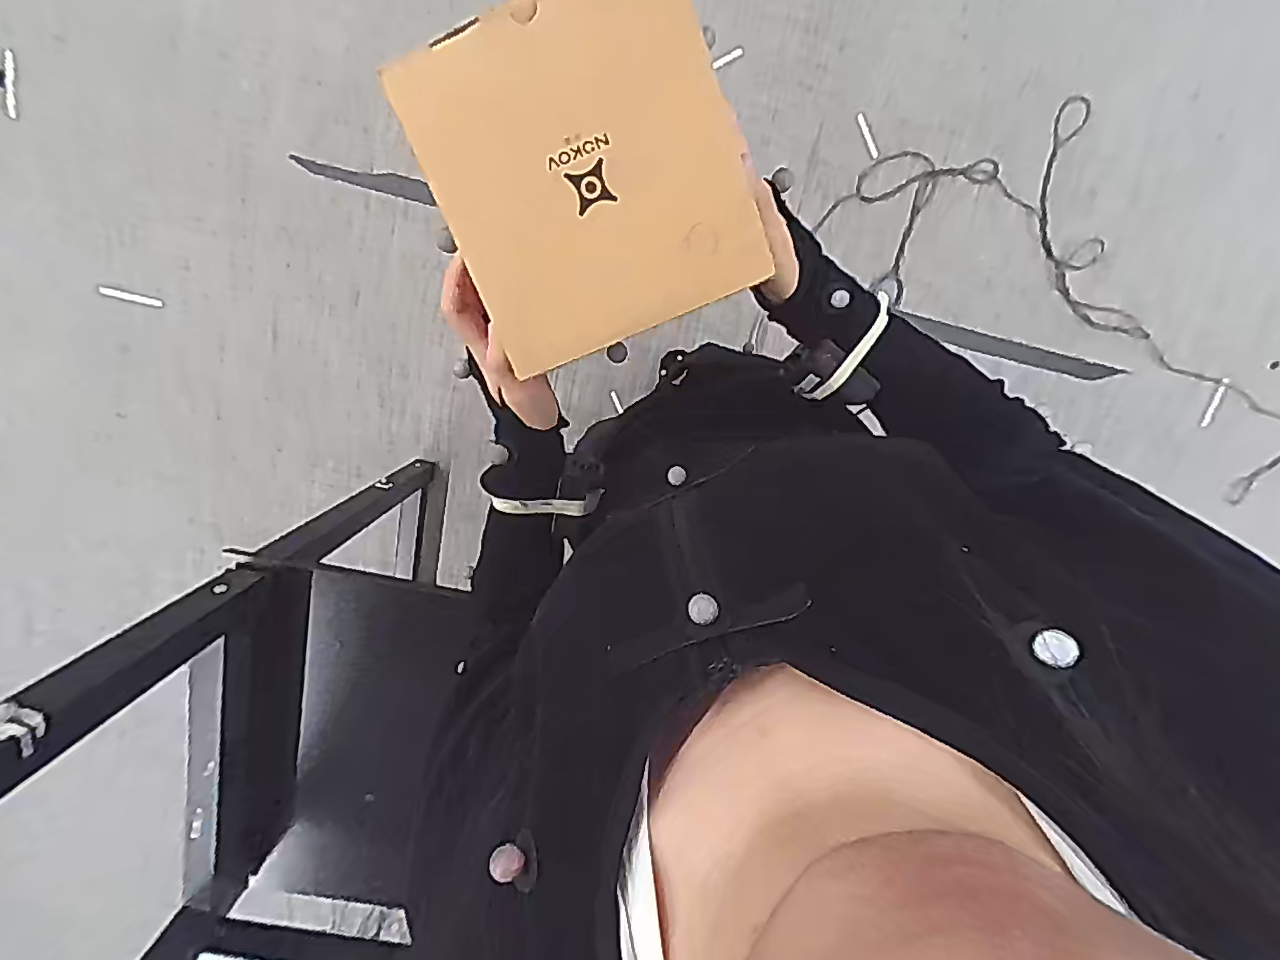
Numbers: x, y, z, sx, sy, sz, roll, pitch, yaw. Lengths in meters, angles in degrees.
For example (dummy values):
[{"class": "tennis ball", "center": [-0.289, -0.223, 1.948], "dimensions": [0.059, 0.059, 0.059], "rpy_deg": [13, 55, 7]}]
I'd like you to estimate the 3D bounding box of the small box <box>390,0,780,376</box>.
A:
[{"class": "small box", "center": [-0.026, -0.189, 0.372], "dimensions": [0.168, 0.176, 0.179], "rpy_deg": [-22, 105, 4]}]
